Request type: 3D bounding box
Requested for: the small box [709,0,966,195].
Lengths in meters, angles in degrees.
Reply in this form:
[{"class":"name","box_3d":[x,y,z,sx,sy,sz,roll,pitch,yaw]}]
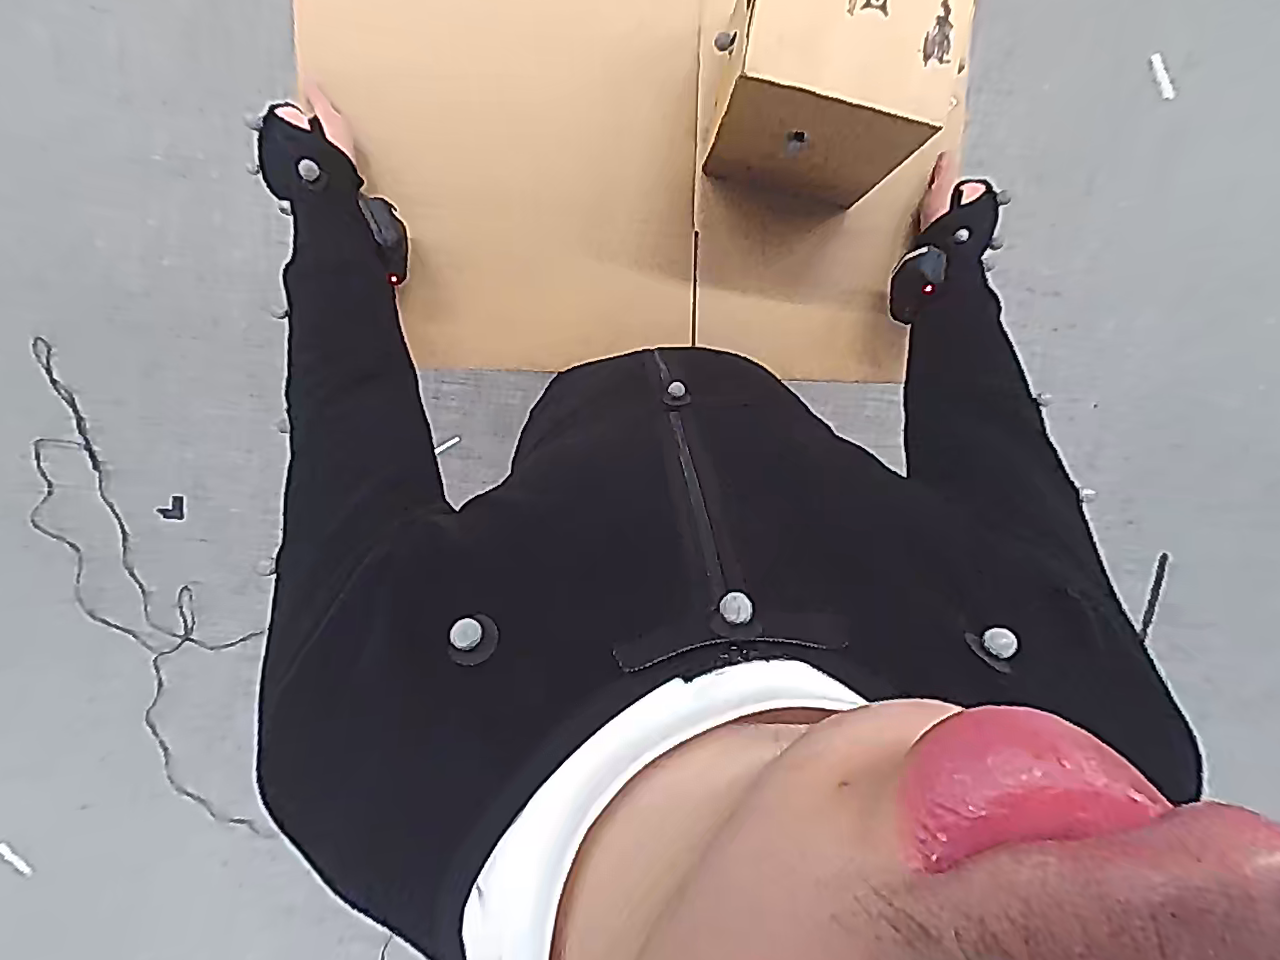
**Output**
[{"class":"small box","box_3d":[0.173,-0.398,0.512,0.179,0.176,0.168,11,96,-4]}]
